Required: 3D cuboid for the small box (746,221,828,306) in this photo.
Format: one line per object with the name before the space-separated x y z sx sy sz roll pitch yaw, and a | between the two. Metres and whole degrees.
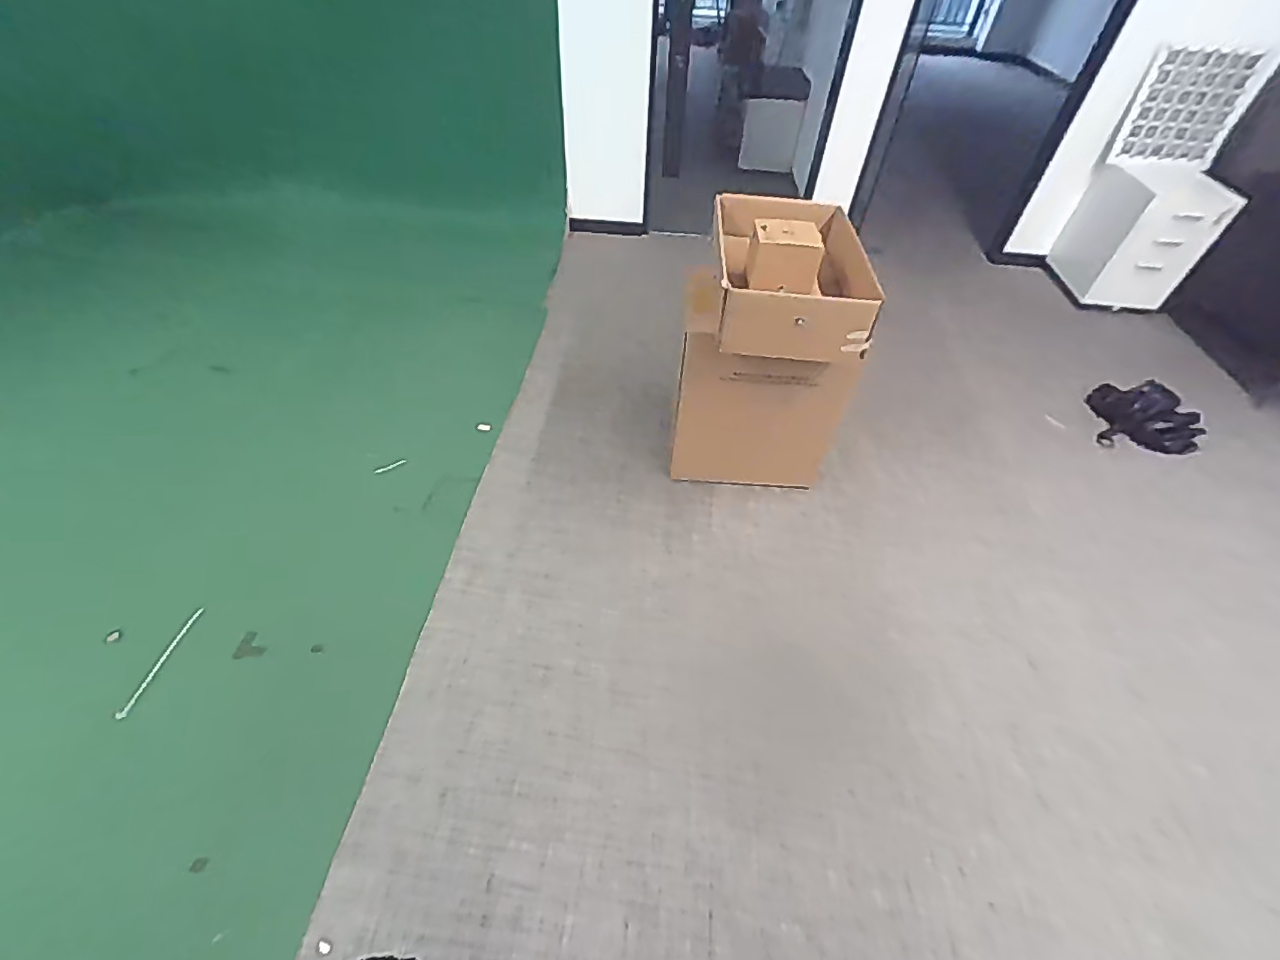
small box | 0.412 -0.612 1.539 0.179 0.176 0.168 5 46 -1
